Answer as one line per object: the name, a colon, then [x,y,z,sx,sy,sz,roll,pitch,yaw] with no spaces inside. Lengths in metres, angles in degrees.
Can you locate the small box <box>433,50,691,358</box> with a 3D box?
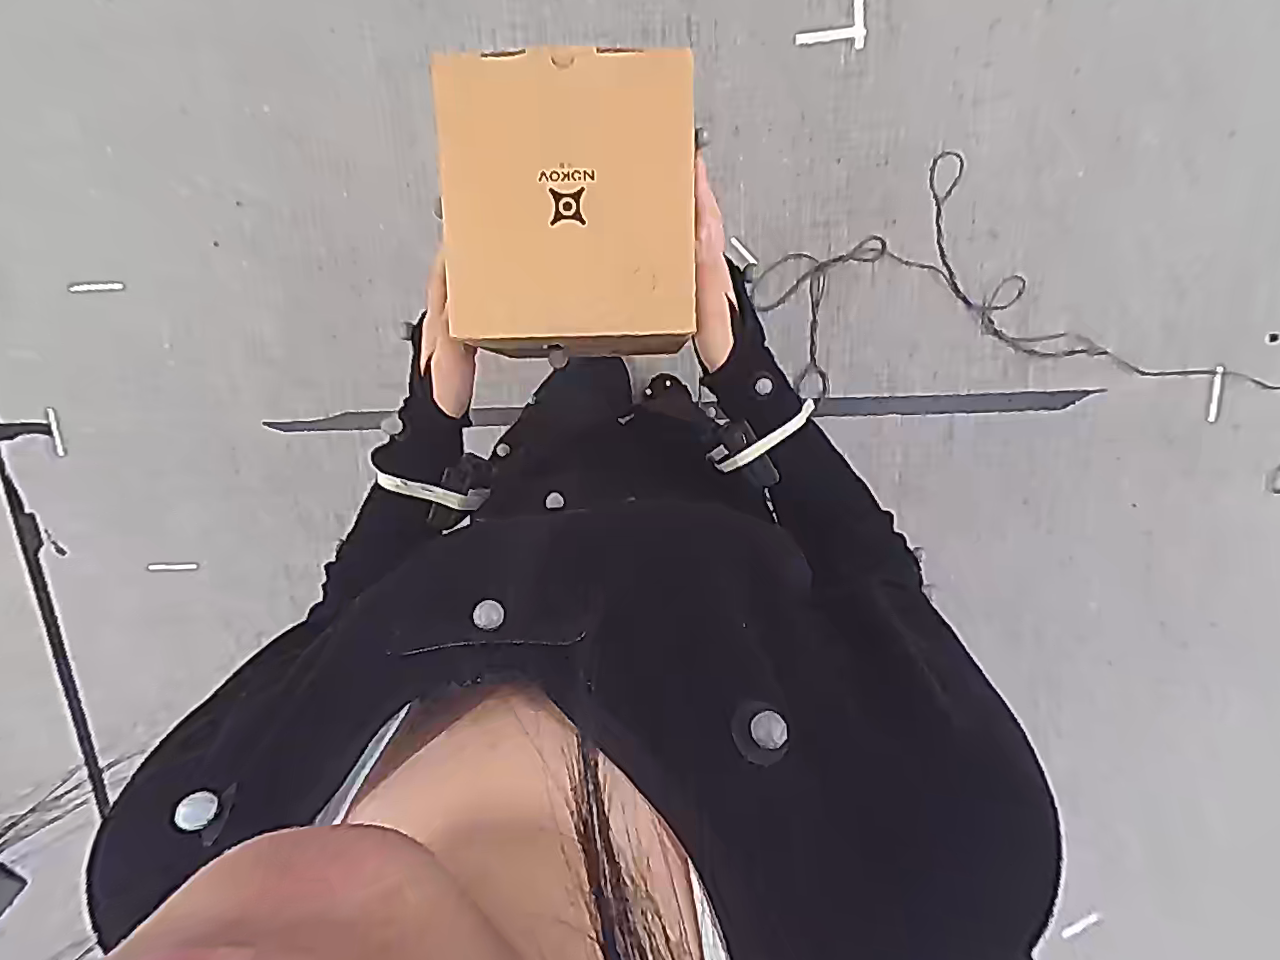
small box: [-0.046,-0.190,0.428,0.168,0.176,0.179,-2,97,1]
